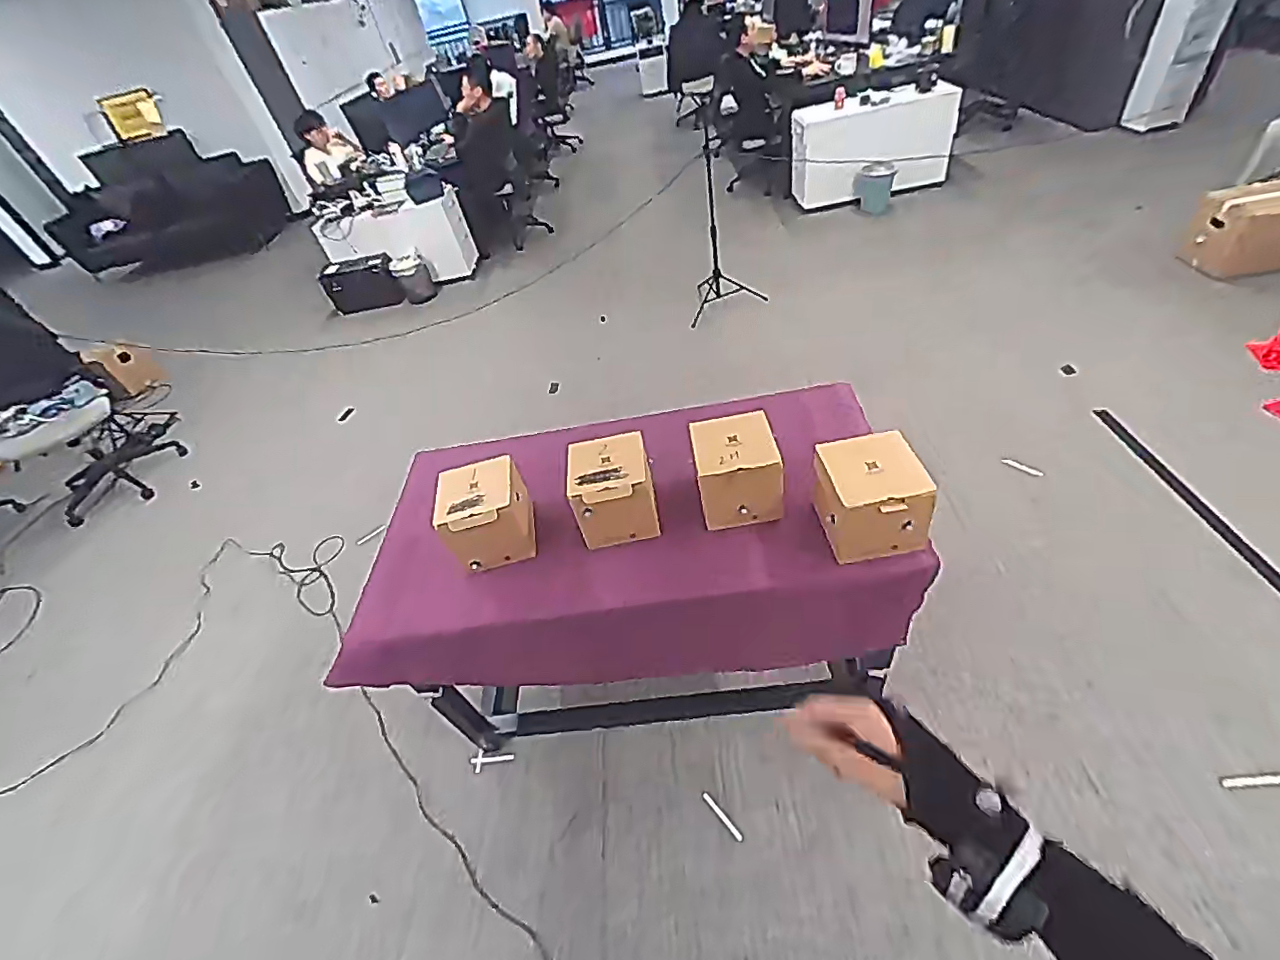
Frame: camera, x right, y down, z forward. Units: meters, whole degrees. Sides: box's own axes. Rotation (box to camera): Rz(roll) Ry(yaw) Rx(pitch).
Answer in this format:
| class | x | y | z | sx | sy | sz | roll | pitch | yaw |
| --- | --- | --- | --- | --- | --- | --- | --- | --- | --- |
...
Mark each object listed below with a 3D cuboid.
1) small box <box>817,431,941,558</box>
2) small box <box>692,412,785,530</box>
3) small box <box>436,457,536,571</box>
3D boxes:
| class | x | y | z | sx | sy | sz | roll | pitch | yaw |
| --- | --- | --- | --- | --- | --- | --- | --- | --- | --- |
| small box | 0.449 | 0.035 | 1.047 | 0.168 | 0.176 | 0.179 | -11 | 43 | 4 |
| small box | 0.210 | -0.018 | 1.165 | 0.168 | 0.176 | 0.179 | -10 | 44 | 6 |
| small box | -0.337 | 0.083 | 1.210 | 0.168 | 0.176 | 0.179 | -15 | 43 | -1 |
